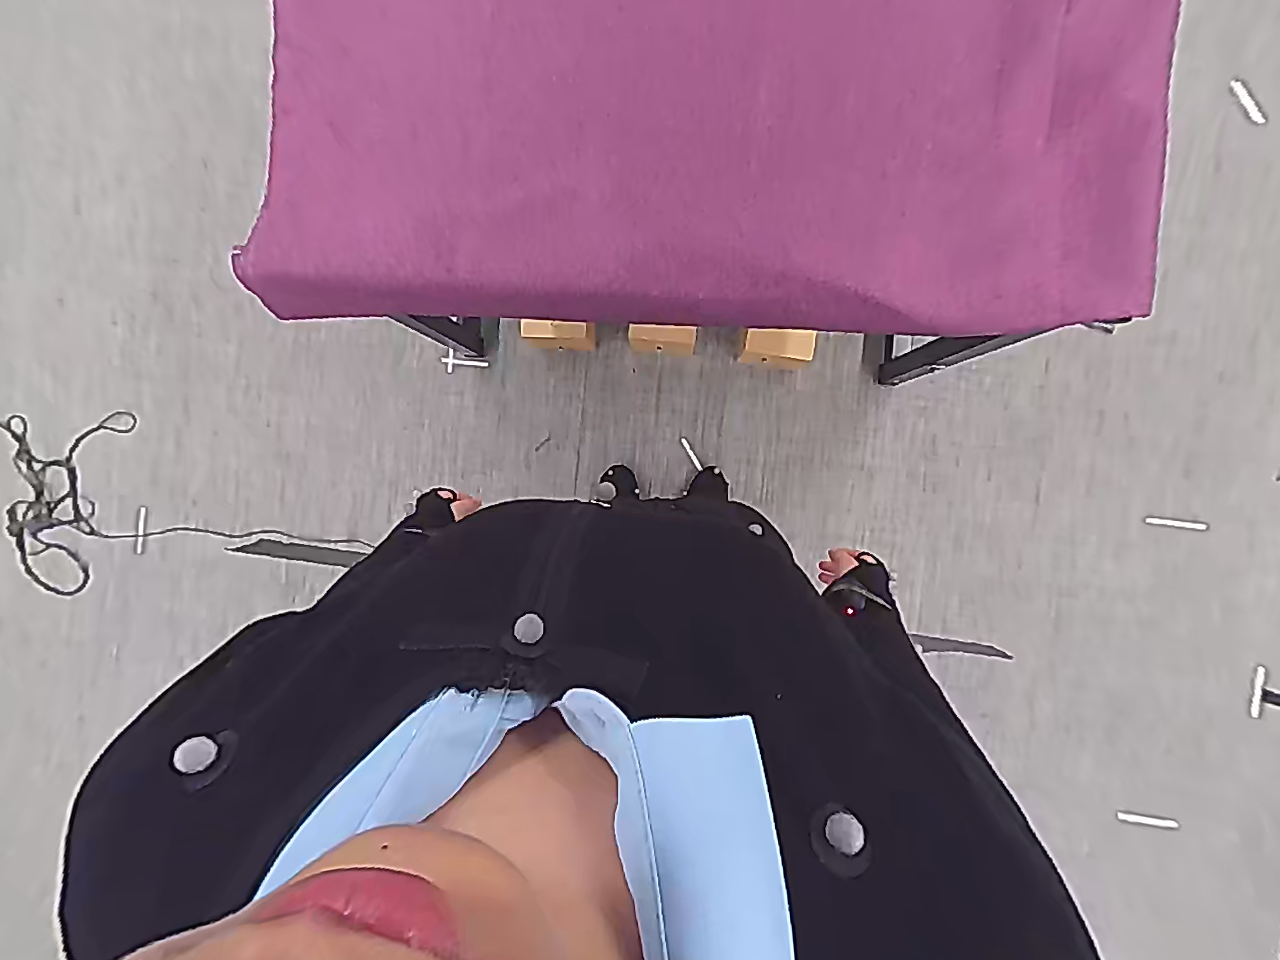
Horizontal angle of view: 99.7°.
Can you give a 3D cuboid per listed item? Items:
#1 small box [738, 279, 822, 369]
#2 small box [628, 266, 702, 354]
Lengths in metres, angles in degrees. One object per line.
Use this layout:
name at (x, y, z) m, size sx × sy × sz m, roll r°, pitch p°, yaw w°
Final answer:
small box at (0.351, -0.392, 1.390) m, size 0.168 × 0.176 × 0.179 m, roll 10°, pitch 92°, yaw 3°
small box at (0.065, -0.432, 1.401) m, size 0.168 × 0.176 × 0.179 m, roll 7°, pitch 92°, yaw 2°
